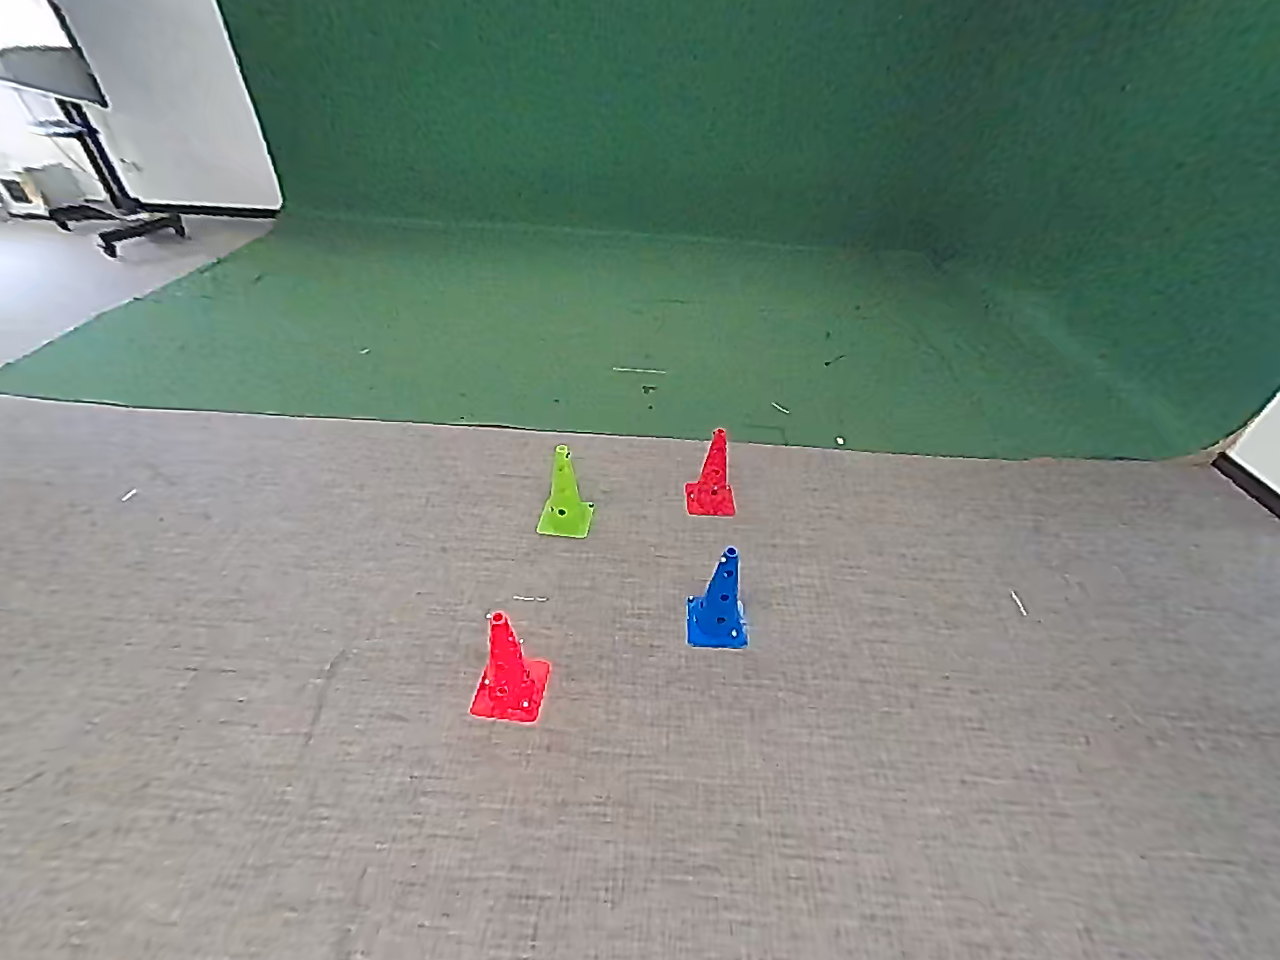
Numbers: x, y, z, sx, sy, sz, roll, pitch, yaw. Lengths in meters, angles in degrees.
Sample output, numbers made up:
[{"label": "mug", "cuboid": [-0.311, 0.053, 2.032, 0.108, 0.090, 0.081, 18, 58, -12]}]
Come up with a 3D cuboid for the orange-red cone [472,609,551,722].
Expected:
[{"label": "orange-red cone", "cuboid": [-0.371, 0.483, 1.509, 0.198, 0.360, 0.199, 7, 39, 3]}]

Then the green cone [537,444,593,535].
[{"label": "green cone", "cuboid": [-0.294, 0.013, 2.064, 0.200, 0.368, 0.202, 5, 41, 3]}]
